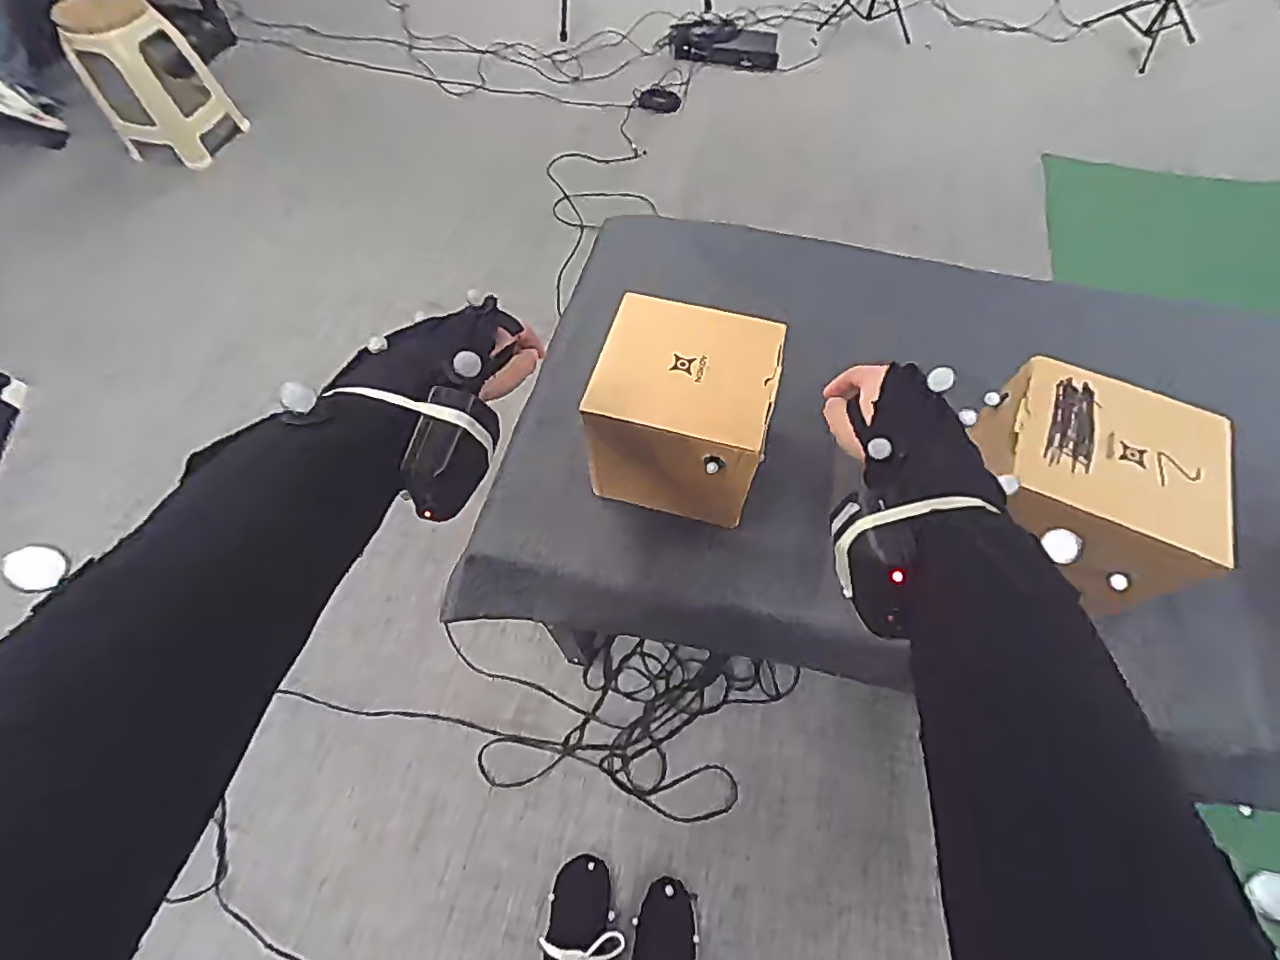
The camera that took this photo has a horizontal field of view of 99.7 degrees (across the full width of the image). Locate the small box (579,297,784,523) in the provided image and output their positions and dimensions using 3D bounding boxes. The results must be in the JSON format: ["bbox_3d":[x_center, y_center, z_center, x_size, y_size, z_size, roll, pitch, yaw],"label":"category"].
[{"bbox_3d":[0.045,-0.070,0.602,0.179,0.176,0.168,14,61,7],"label":"small box"}]
